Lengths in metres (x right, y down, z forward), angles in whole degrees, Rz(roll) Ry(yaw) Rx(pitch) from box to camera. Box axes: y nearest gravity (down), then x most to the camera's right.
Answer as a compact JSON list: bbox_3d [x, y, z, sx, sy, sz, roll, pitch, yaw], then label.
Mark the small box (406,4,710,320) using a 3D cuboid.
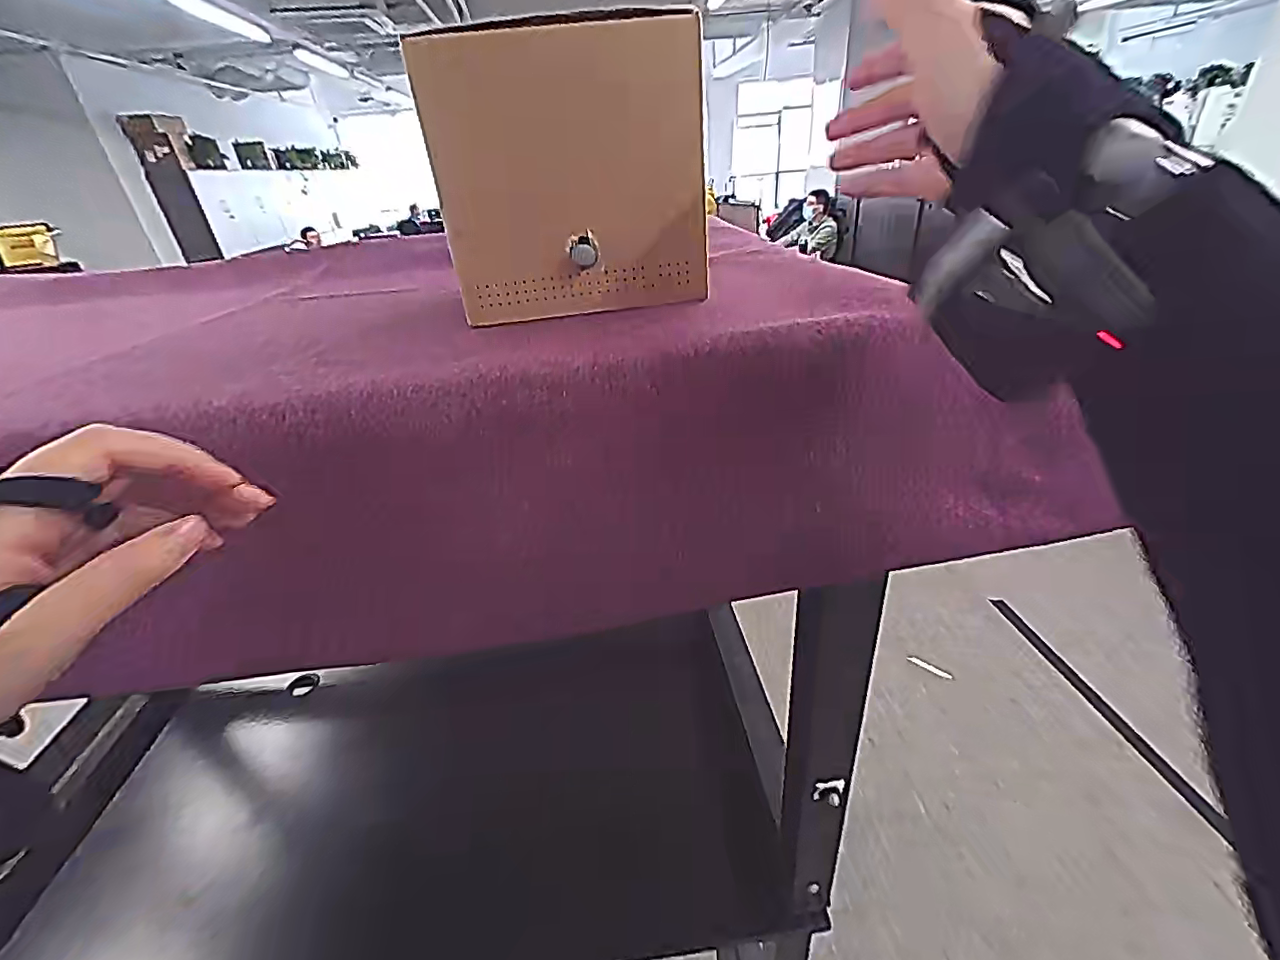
[{"bbox_3d":[-0.049,-0.231,0.414,0.179,0.176,0.168,-8,29,-4],"label":"small box"}]
